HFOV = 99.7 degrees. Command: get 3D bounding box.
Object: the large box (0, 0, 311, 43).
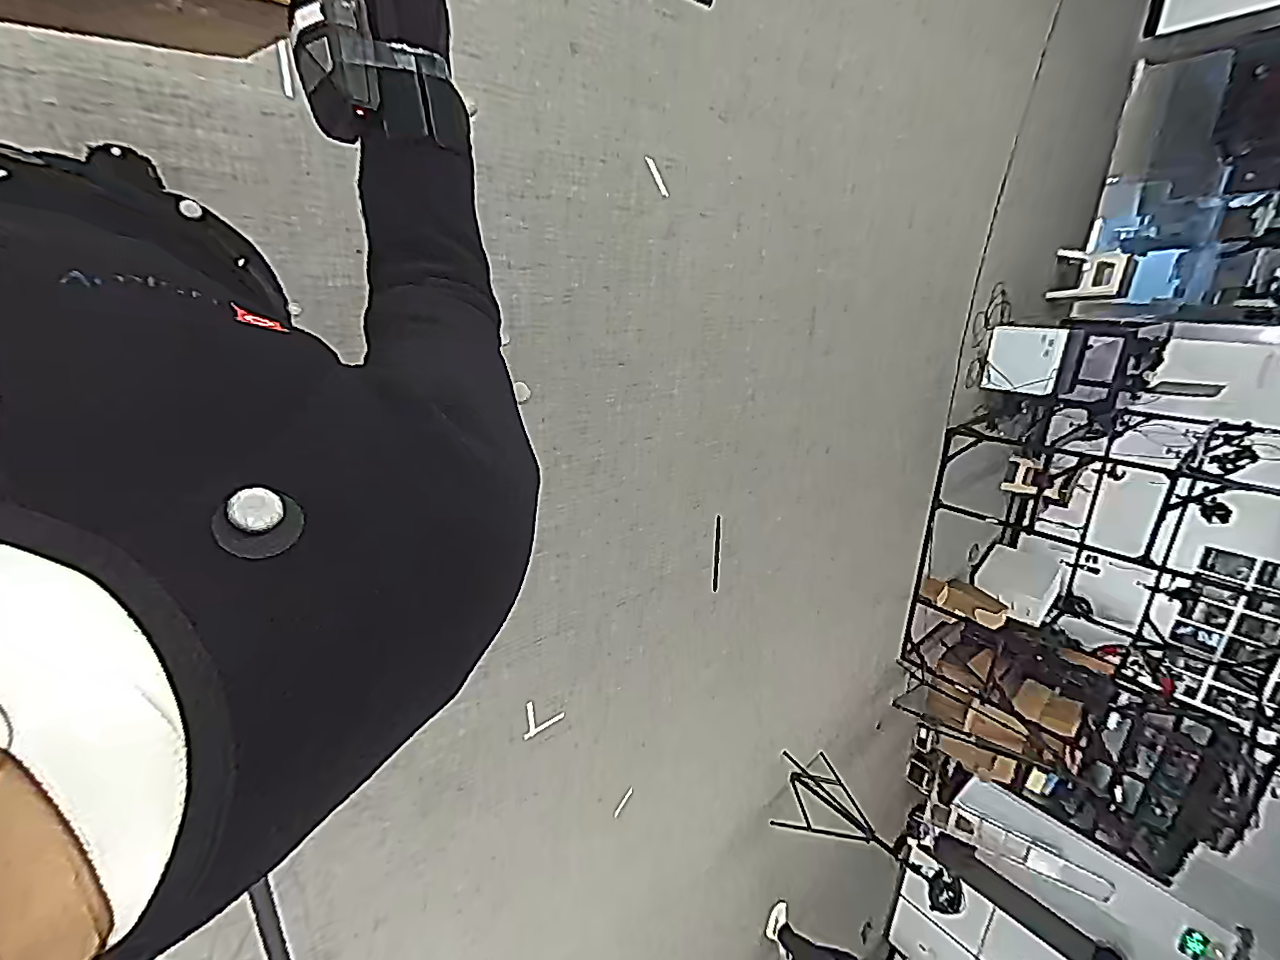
[{"bbox_3d":[-0.432,-0.437,0.243,0.408,0.320,0.320,-21,129,-37],"label":"large box"}]
